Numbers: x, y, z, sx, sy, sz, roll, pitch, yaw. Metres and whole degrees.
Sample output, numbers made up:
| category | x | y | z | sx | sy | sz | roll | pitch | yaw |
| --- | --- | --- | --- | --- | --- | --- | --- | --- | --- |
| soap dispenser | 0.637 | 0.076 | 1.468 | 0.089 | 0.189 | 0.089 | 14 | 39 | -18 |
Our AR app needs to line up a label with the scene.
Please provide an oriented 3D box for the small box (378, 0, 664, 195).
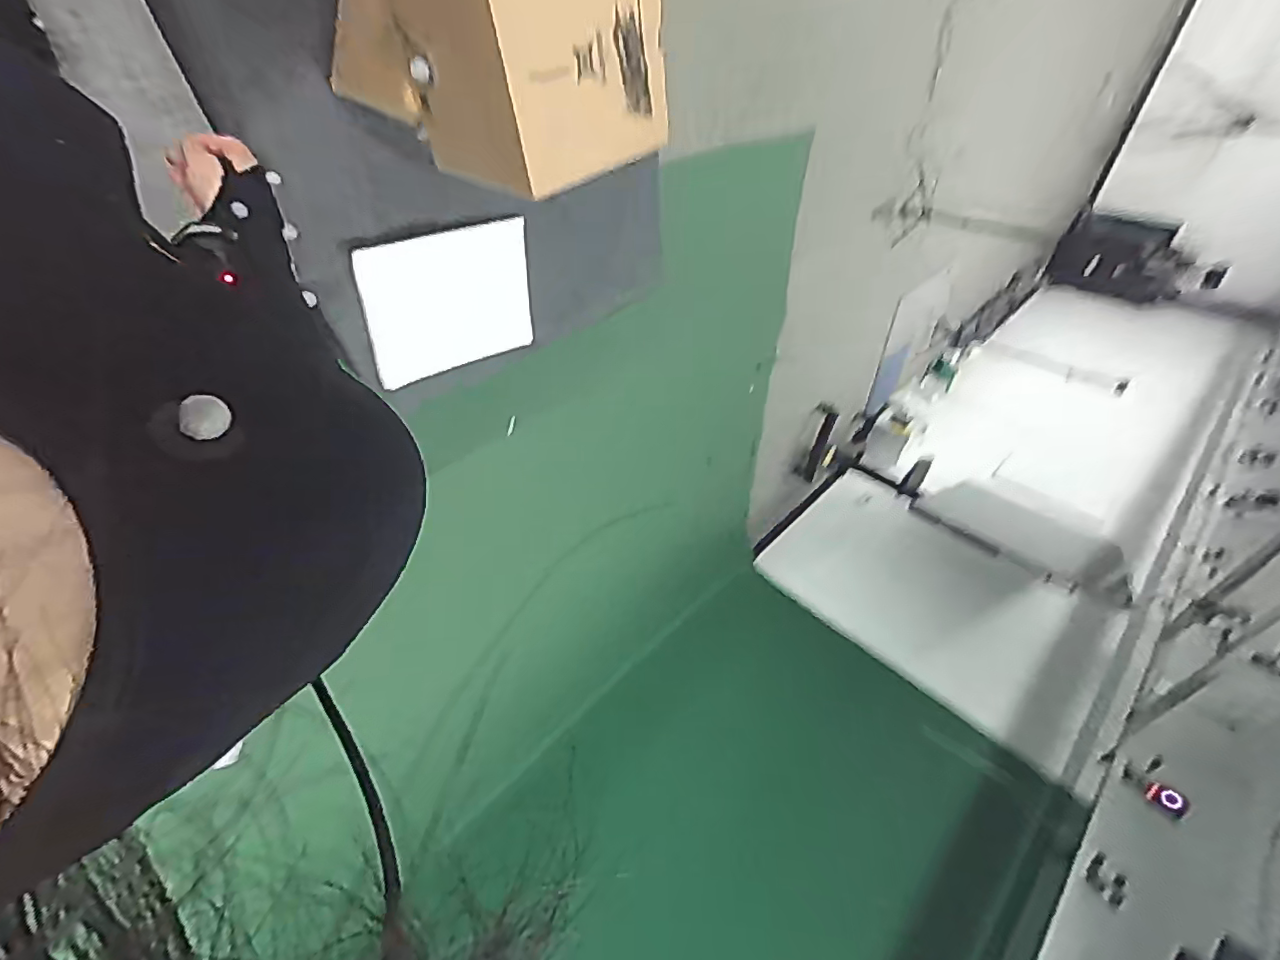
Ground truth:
| category | x | y | z | sx | sy | sz | roll | pitch | yaw |
| --- | --- | --- | --- | --- | --- | --- | --- | --- | --- |
| small box | -0.100 | -0.385 | 0.487 | 0.179 | 0.176 | 0.168 | -39 | 143 | -26 |

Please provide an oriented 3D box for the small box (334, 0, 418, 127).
| category | x | y | z | sx | sy | sz | roll | pitch | yaw |
| --- | --- | --- | --- | --- | --- | --- | --- | --- | --- |
| small box | -0.206 | -0.471 | 0.580 | 0.168 | 0.176 | 0.179 | -8 | 124 | -50 |
